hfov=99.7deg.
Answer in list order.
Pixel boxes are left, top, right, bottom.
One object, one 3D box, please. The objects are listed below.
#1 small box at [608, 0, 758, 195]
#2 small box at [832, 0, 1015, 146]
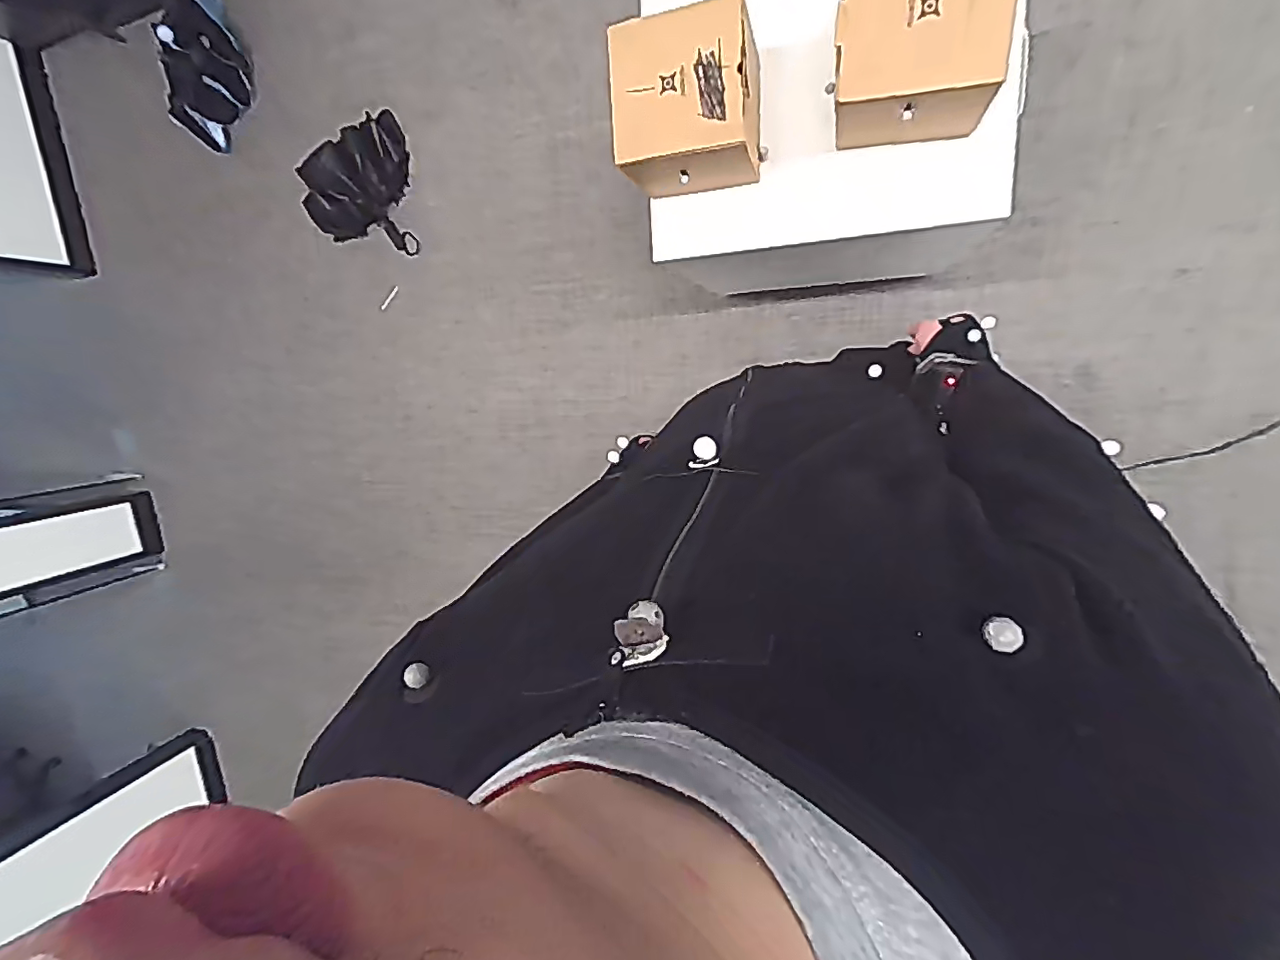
[{"bbox_3d":[0.069,-0.517,0.754,0.179,0.176,0.168,2,102,20],"label":"small box"},{"bbox_3d":[0.334,-0.529,0.658,0.179,0.176,0.168,5,105,18],"label":"small box"}]
